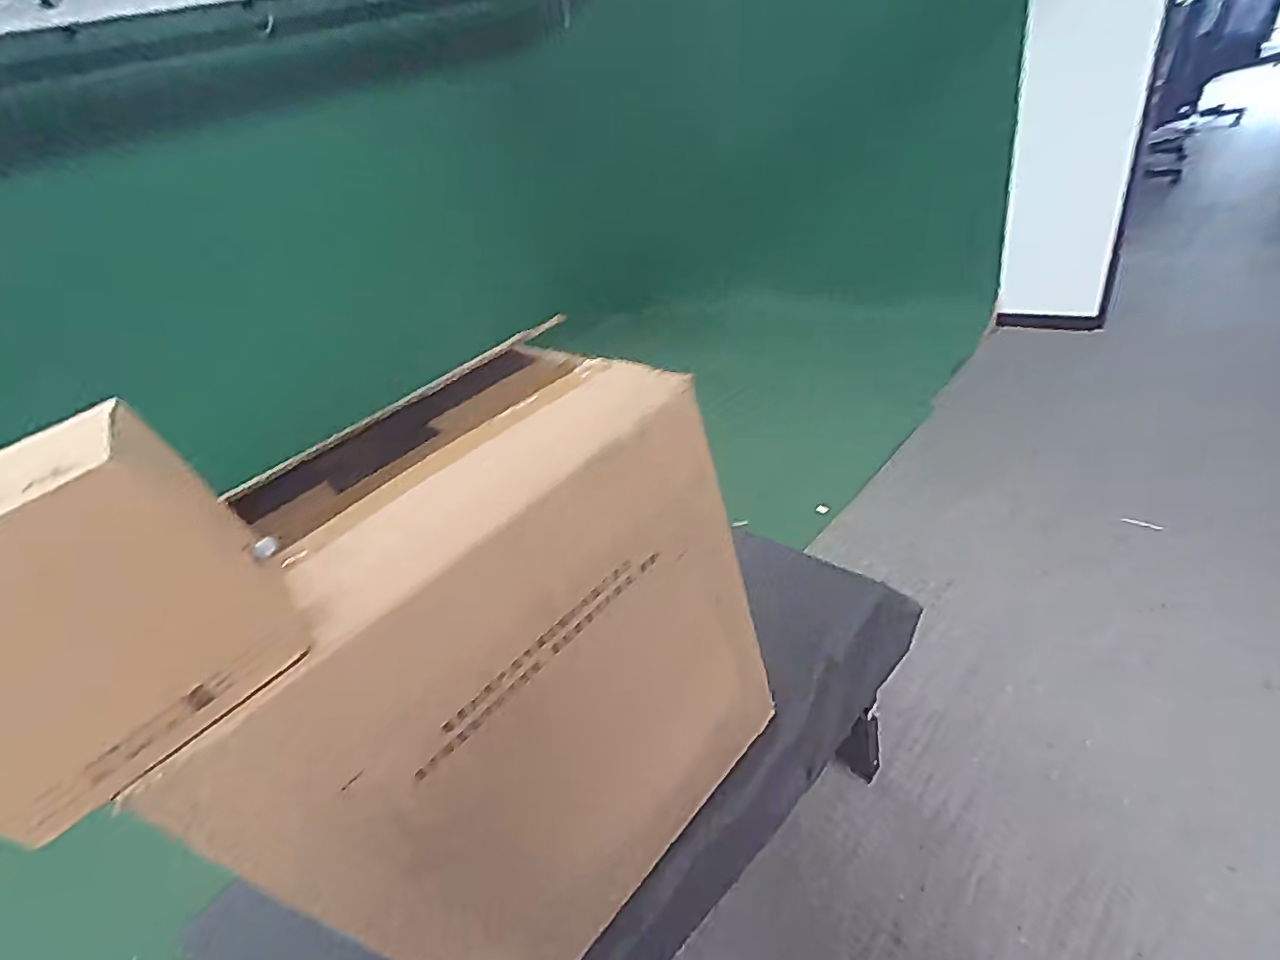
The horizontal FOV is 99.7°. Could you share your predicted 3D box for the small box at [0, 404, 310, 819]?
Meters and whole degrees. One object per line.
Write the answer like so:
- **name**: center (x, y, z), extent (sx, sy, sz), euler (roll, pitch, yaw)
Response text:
- **small box**: center (-0.359, 0.074, 0.357), extent (0.168, 0.176, 0.179), euler (-40, 39, -24)
